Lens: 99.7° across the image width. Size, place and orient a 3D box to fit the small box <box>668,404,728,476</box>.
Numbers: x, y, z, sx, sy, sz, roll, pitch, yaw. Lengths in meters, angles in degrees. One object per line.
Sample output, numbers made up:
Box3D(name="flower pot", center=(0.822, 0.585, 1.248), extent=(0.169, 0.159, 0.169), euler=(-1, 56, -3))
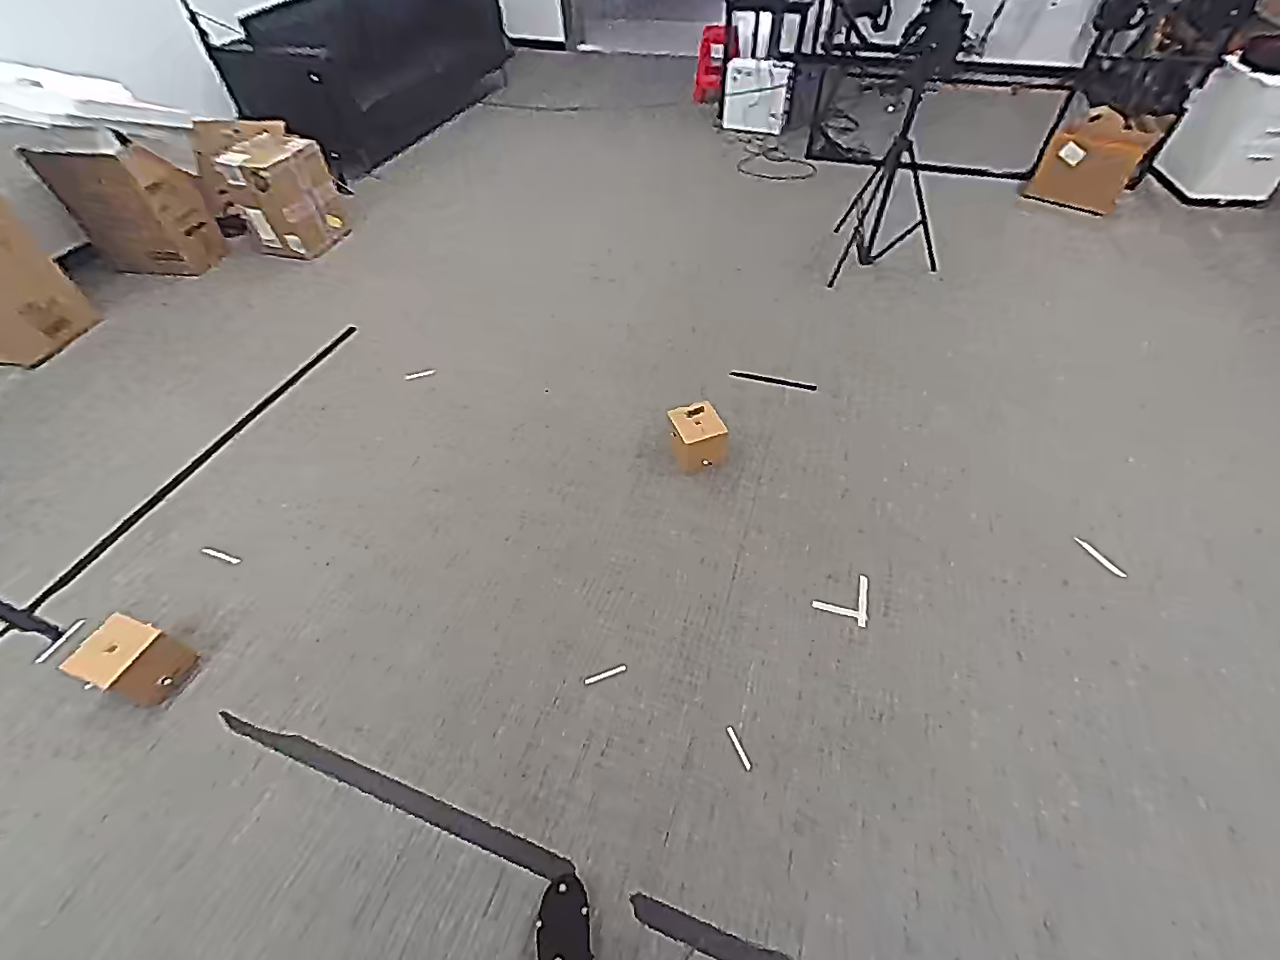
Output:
Box3D(name="small box", center=(0.204, -0.146, 1.975), extent=(0.168, 0.176, 0.179), euler=(-17, 52, -12))

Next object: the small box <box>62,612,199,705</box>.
Box3D(name="small box", center=(-1.383, 0.493, 1.480), extent=(0.179, 0.176, 0.168), euler=(15, 53, 12))
